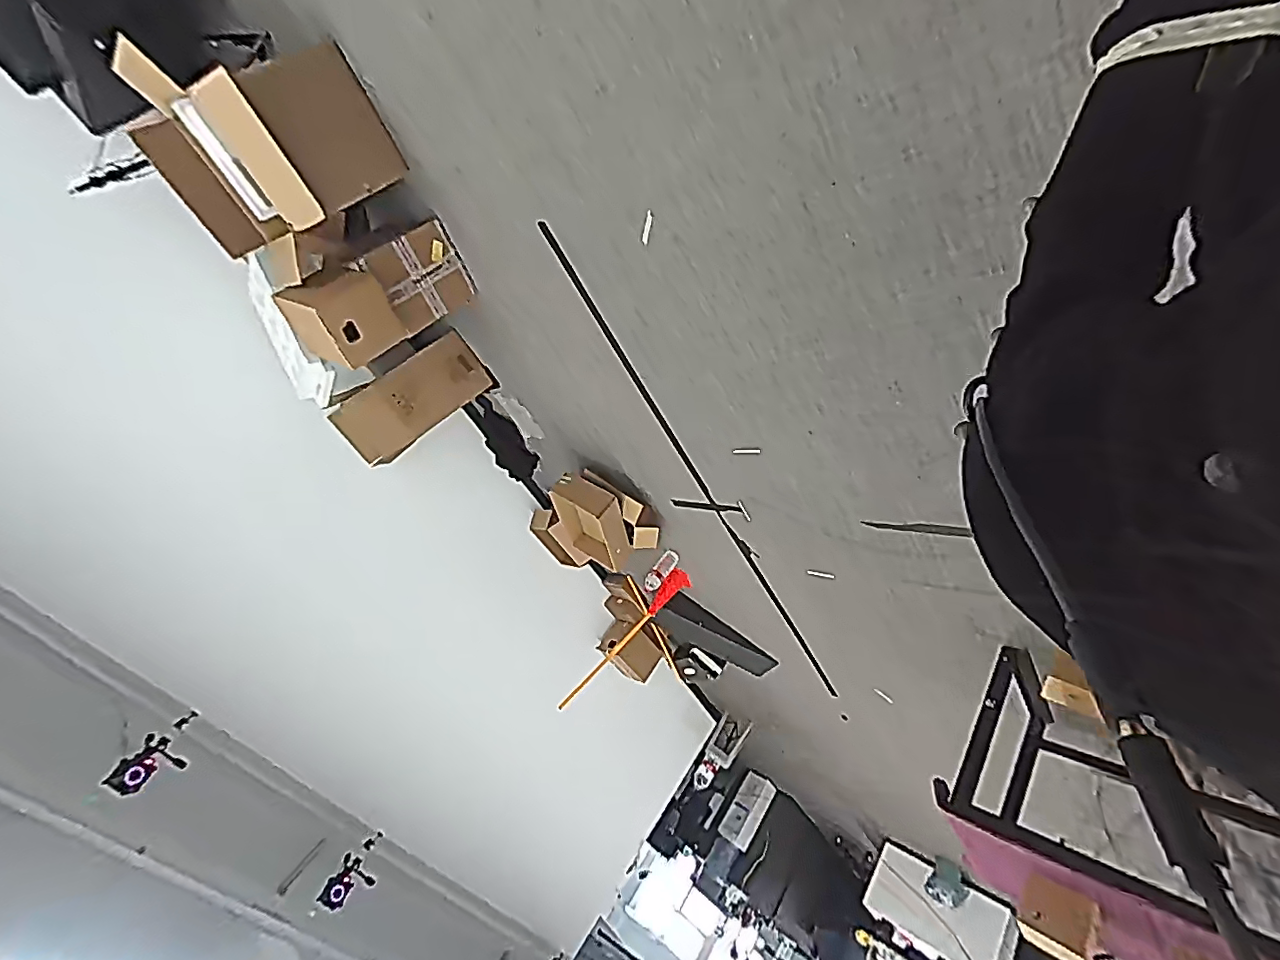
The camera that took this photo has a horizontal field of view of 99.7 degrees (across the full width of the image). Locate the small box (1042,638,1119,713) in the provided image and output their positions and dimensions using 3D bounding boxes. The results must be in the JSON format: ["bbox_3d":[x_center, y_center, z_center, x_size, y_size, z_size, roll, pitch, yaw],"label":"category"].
[{"bbox_3d":[1.615,0.709,1.983,0.179,0.176,0.168,17,144,38],"label":"small box"}]

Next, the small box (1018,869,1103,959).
[{"bbox_3d":[1.343,1.387,1.726,0.179,0.176,0.168,4,136,50],"label":"small box"}]

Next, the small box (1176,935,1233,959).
[{"bbox_3d":[1.548,1.375,1.444,0.168,0.176,0.179,5,138,51],"label":"small box"}]
